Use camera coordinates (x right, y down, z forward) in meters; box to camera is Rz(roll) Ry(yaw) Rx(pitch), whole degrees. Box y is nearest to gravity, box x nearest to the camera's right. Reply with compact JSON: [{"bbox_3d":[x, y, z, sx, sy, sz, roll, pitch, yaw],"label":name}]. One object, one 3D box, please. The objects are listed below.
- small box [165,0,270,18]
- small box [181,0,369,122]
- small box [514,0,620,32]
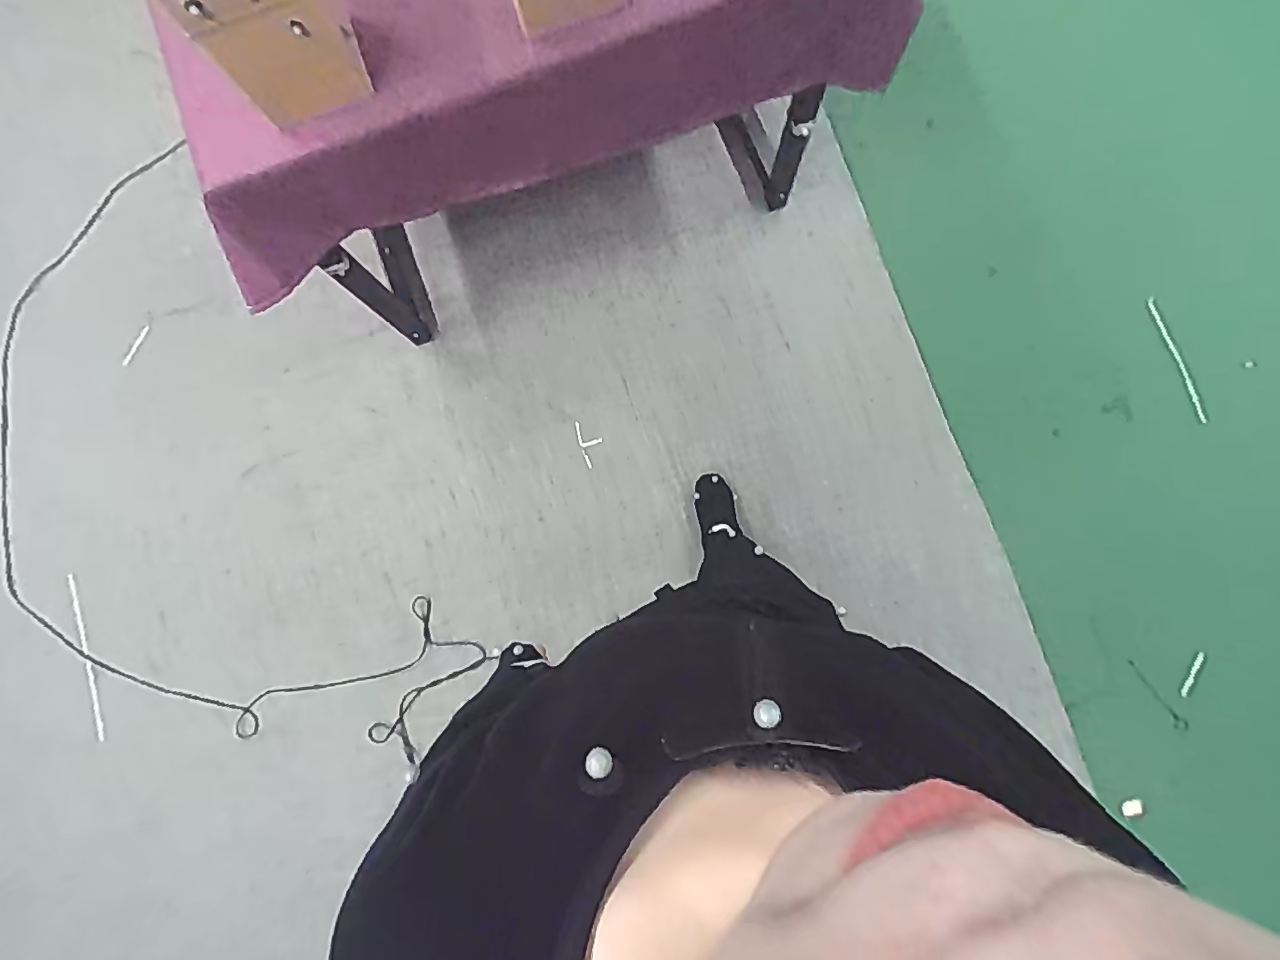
[{"bbox_3d":[-0.554,-0.711,0.650,0.168,0.176,0.179,-20,81,-1],"label":"small box"},{"bbox_3d":[-0.548,-0.687,0.813,0.179,0.176,0.168,-20,82,-2],"label":"small box"},{"bbox_3d":[-0.132,-0.833,0.814,0.179,0.176,0.168,-18,83,0],"label":"small box"}]
